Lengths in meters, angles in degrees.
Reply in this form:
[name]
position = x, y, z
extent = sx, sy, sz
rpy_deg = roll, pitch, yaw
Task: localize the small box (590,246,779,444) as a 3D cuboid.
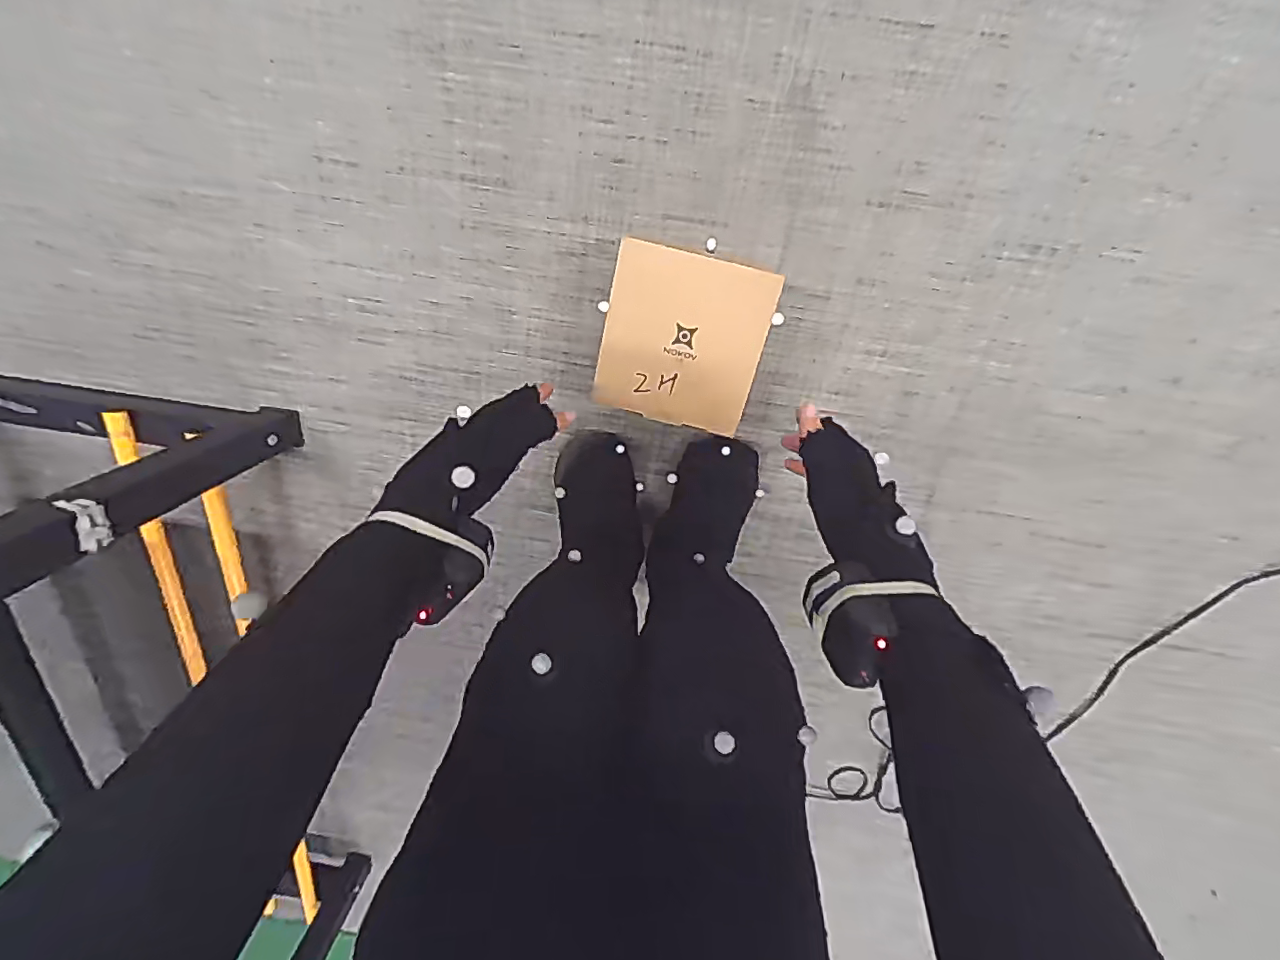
[small box]
position = 0.048, -0.167, 0.639
extent = 0.168, 0.176, 0.179
rpy_deg = 14, 115, 0
